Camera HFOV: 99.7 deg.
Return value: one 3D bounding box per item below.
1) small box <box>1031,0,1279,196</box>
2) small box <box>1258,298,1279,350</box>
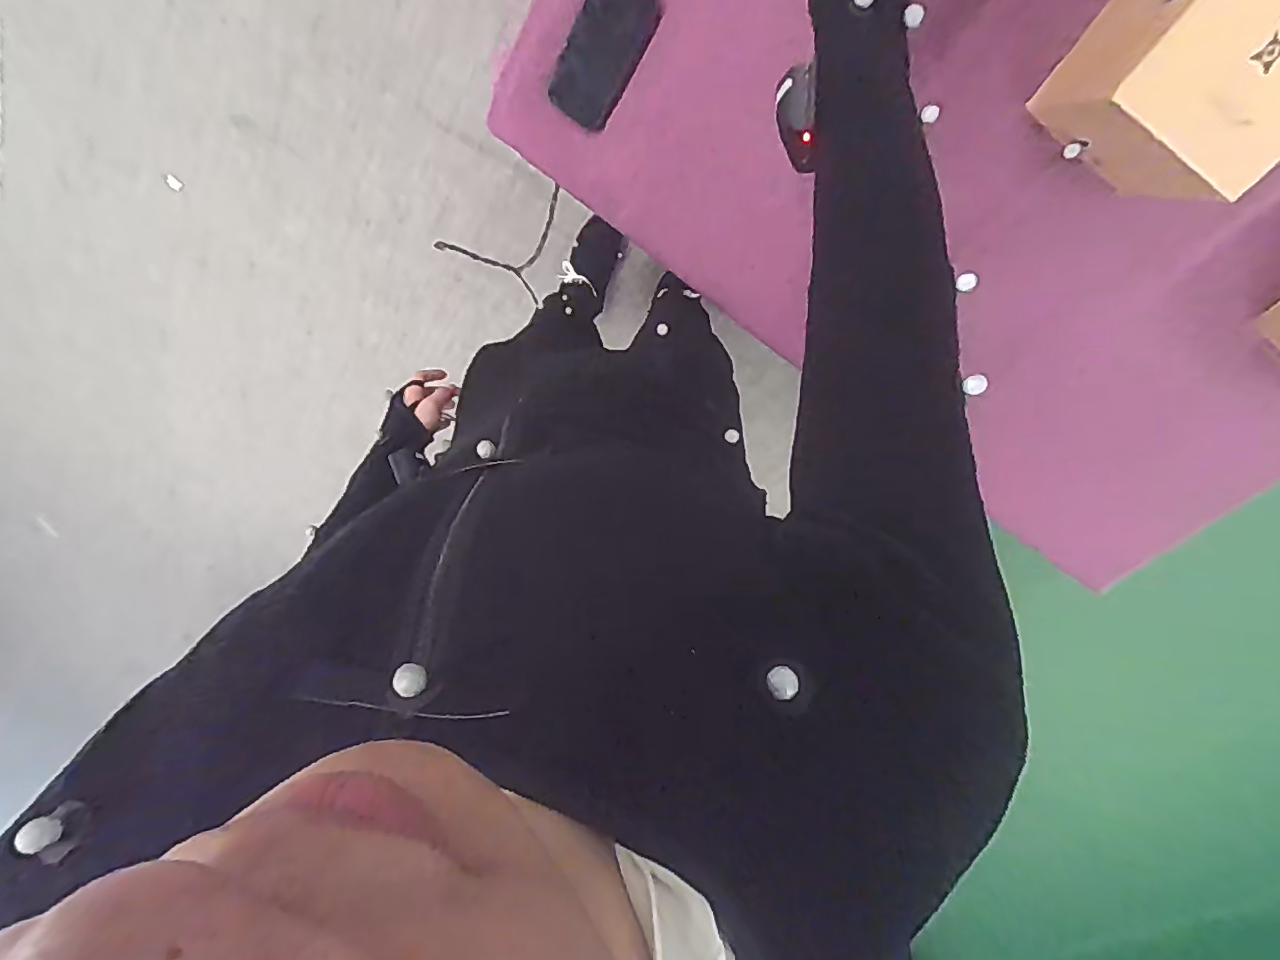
[{"bbox_3d":[0.535,-0.405,0.515,0.168,0.176,0.179,31,120,-11],"label":"small box"},{"bbox_3d":[0.893,-0.185,0.604,0.168,0.176,0.179,32,119,-11],"label":"small box"}]
